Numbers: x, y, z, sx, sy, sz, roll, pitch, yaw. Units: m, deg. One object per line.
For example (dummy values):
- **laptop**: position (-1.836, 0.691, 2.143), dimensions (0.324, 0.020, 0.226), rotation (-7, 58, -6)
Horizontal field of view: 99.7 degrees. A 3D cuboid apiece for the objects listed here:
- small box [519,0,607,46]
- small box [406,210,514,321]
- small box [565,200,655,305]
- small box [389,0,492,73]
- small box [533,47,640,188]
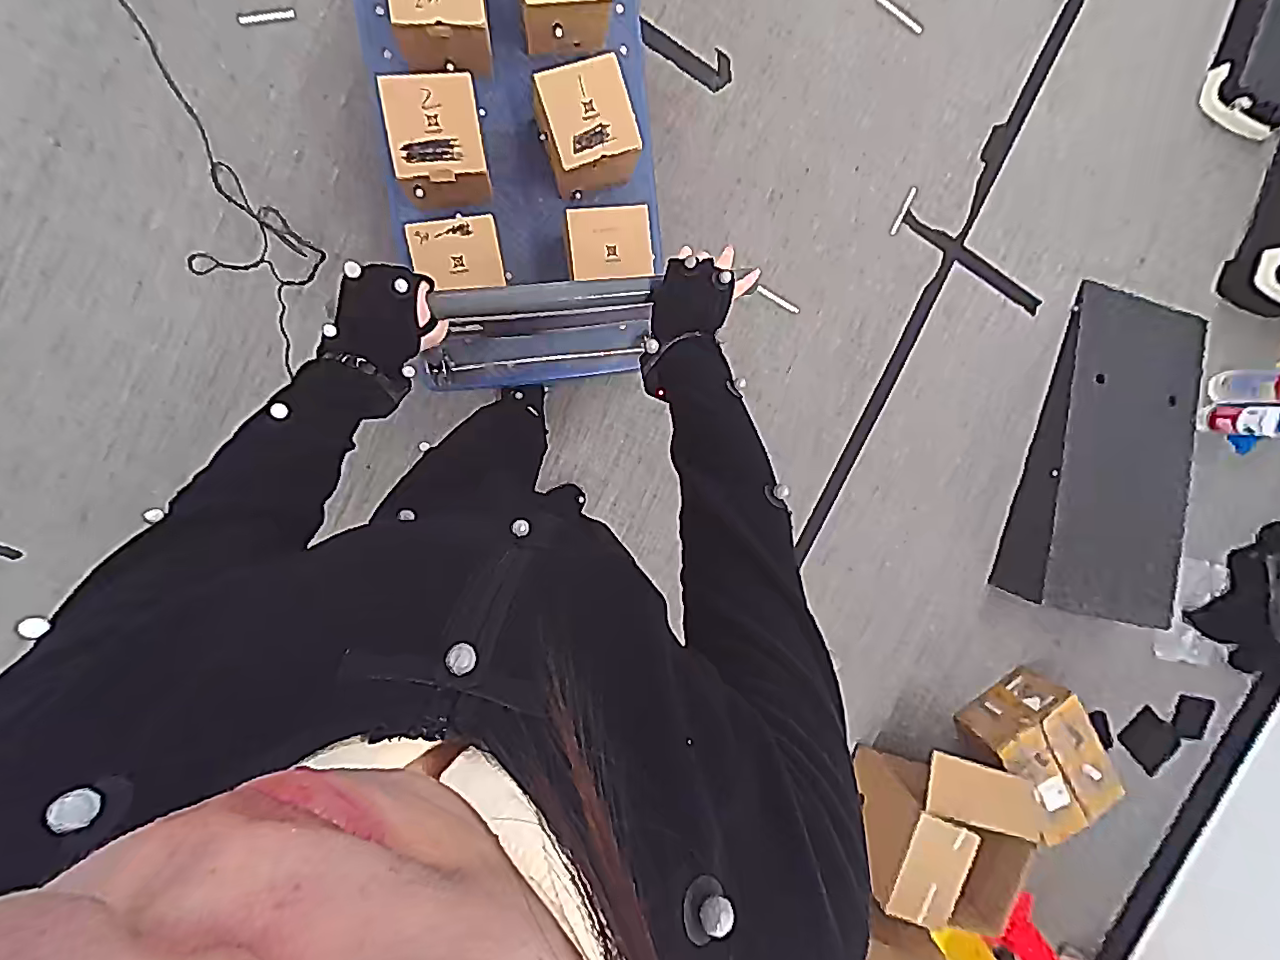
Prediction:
- **small box**: position (-0.158, -0.991, 1.060), dimensions (0.168, 0.176, 0.179), rotation (-11, 101, -8)
- **small box**: position (-0.360, -0.430, 1.112), dimensions (0.168, 0.176, 0.179), rotation (-12, 101, -9)
- **small box**: position (-0.069, -0.478, 1.158), dimensions (0.168, 0.176, 0.179), rotation (-7, 99, -10)
- **small box**: position (-0.381, -0.922, 1.030), dimensions (0.168, 0.176, 0.179), rotation (-6, 101, -9)
- **small box**: position (-0.111, -0.727, 1.110), dimensions (0.168, 0.176, 0.179), rotation (-20, 101, -6)
